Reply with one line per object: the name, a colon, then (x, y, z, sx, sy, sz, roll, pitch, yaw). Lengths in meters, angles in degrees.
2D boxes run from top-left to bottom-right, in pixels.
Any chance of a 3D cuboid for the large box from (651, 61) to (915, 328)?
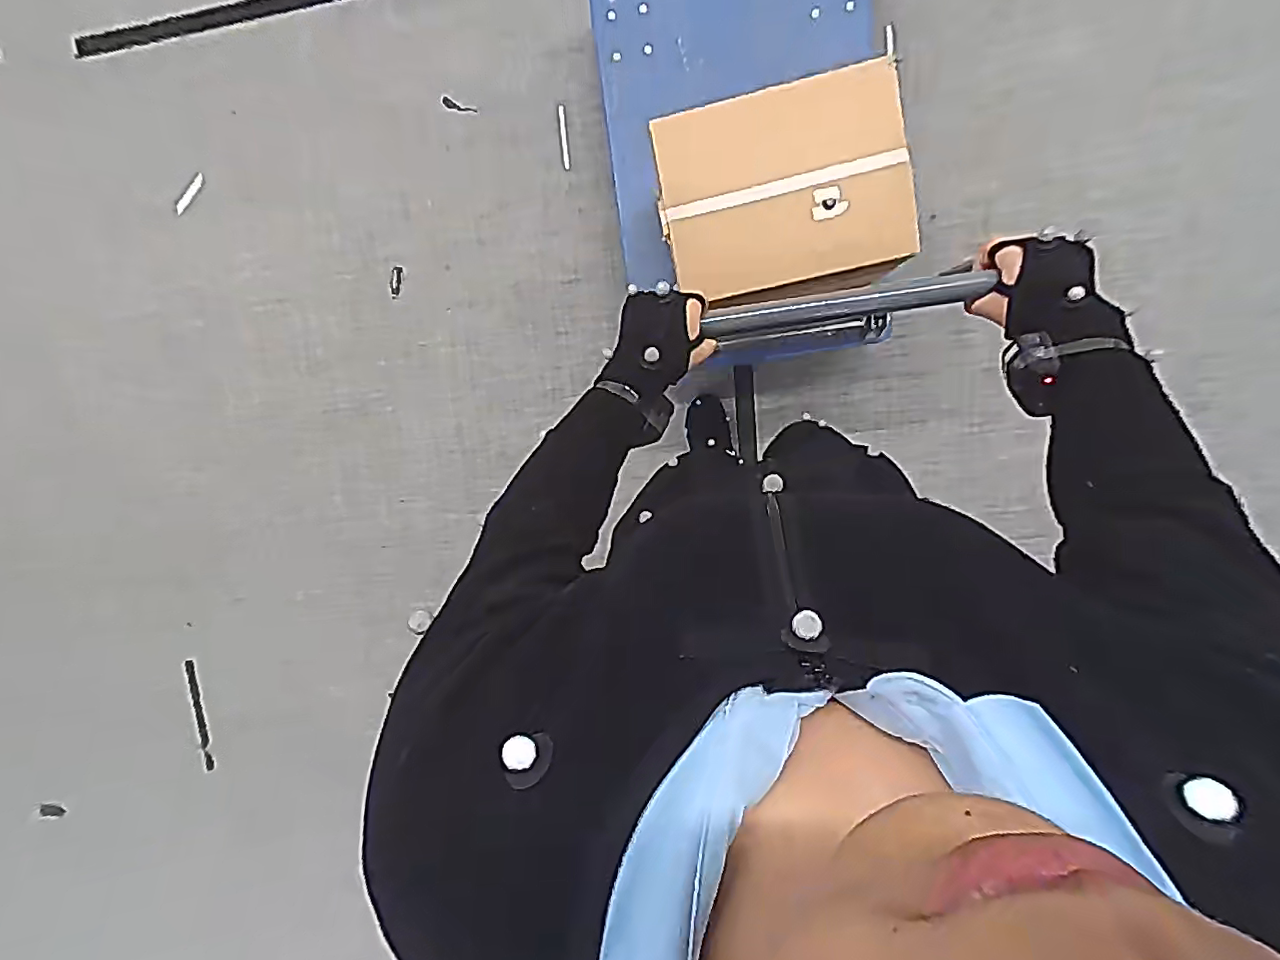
large box: (0.254, -0.515, 1.065, 0.408, 0.320, 0.320, -11, 98, 6)
